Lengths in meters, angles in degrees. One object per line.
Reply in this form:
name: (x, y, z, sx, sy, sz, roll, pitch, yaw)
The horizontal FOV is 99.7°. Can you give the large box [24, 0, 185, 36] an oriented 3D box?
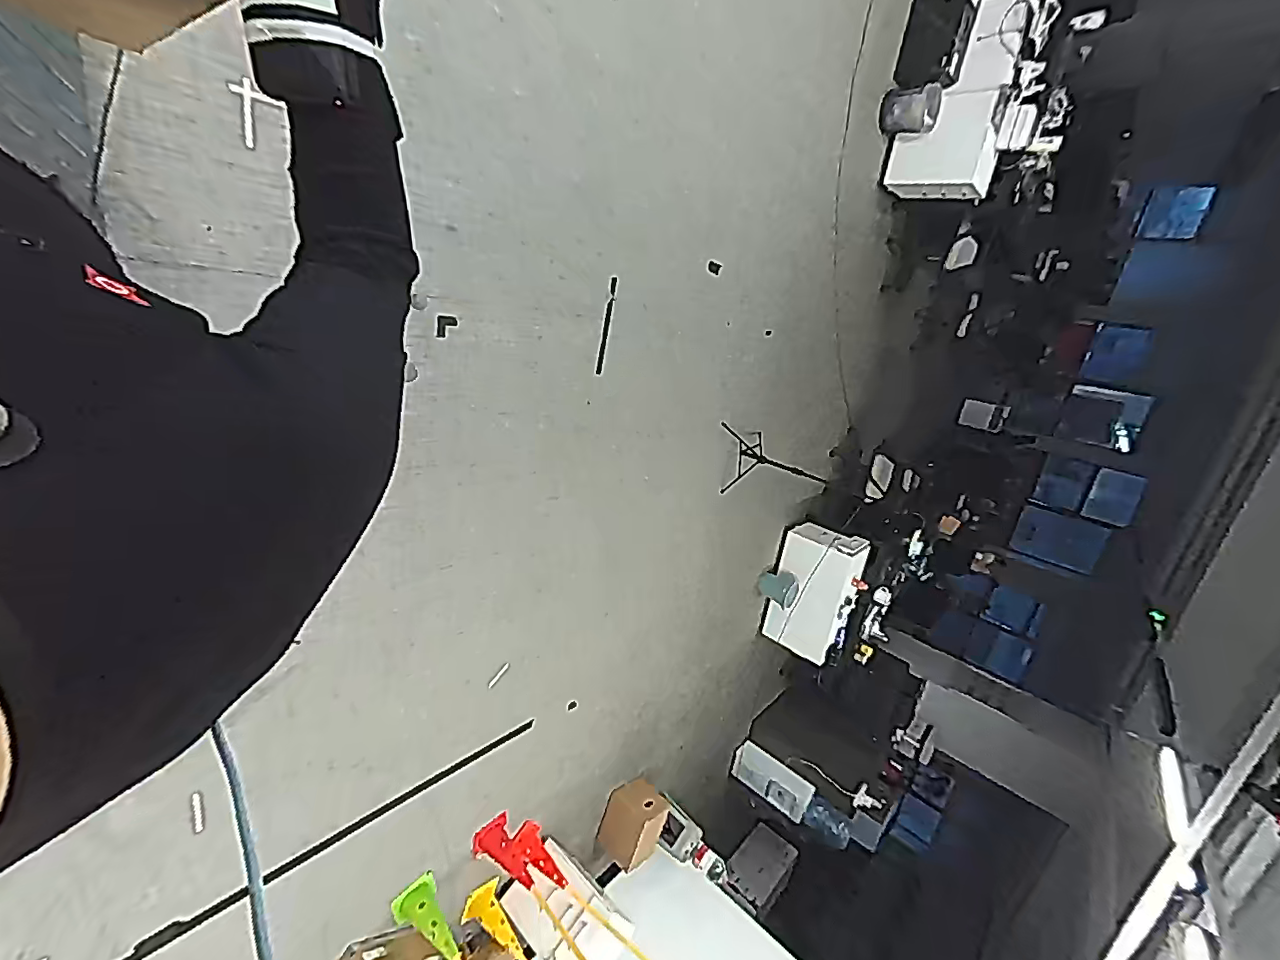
large box: (-0.466, -0.482, 0.229, 0.408, 0.320, 0.320, -11, 118, -50)
